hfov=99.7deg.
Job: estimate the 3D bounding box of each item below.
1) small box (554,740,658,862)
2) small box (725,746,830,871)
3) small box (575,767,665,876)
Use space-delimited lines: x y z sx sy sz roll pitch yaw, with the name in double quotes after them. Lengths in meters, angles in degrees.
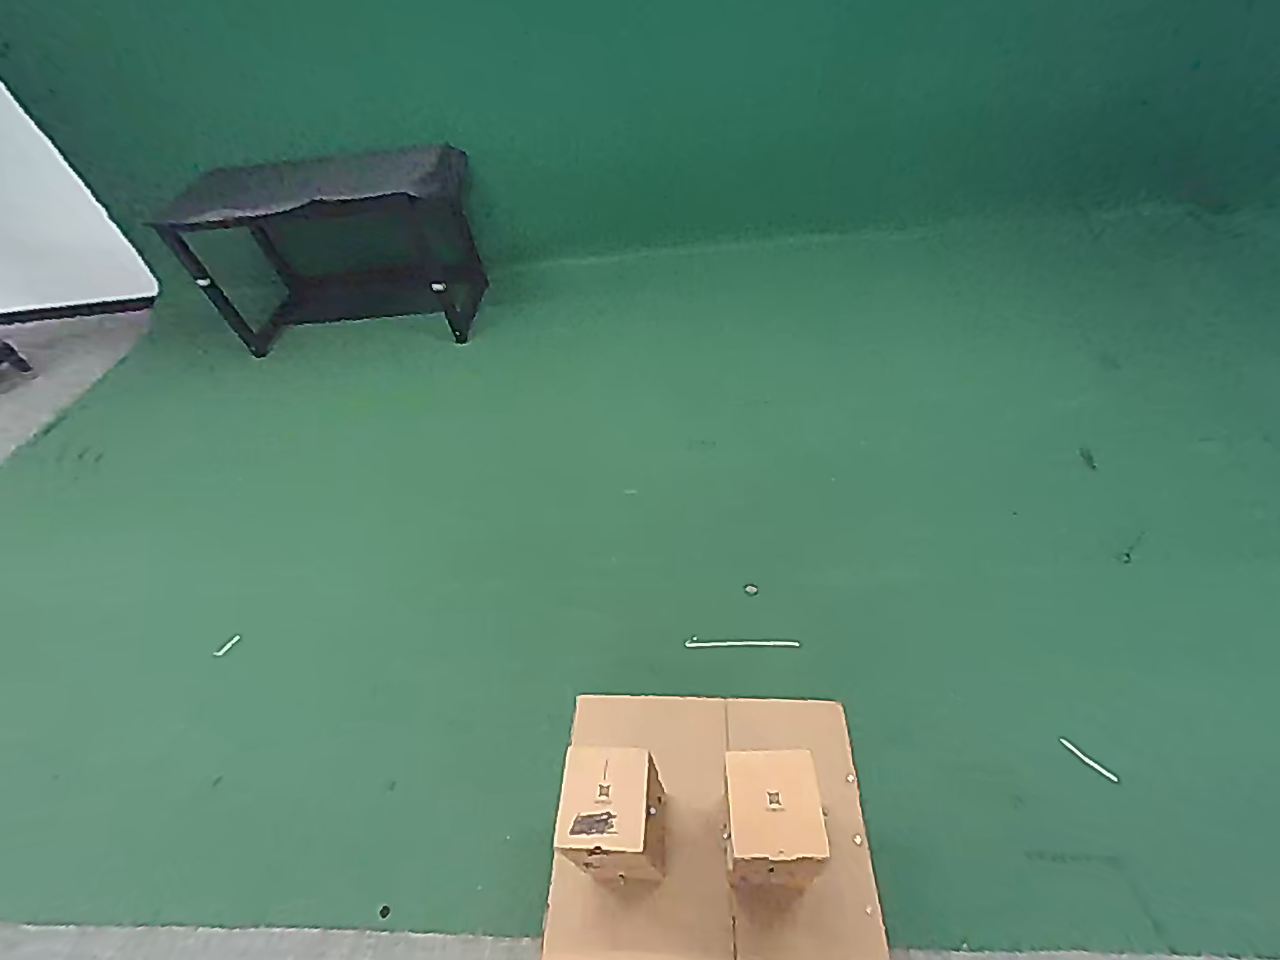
-0.058 0.637 1.069 0.168 0.176 0.179 -2 47 8 "small box"
0.251 0.628 1.033 0.168 0.176 0.179 -4 47 5 "small box"
-0.035 0.748 1.188 0.168 0.176 0.179 -4 48 8 "small box"
